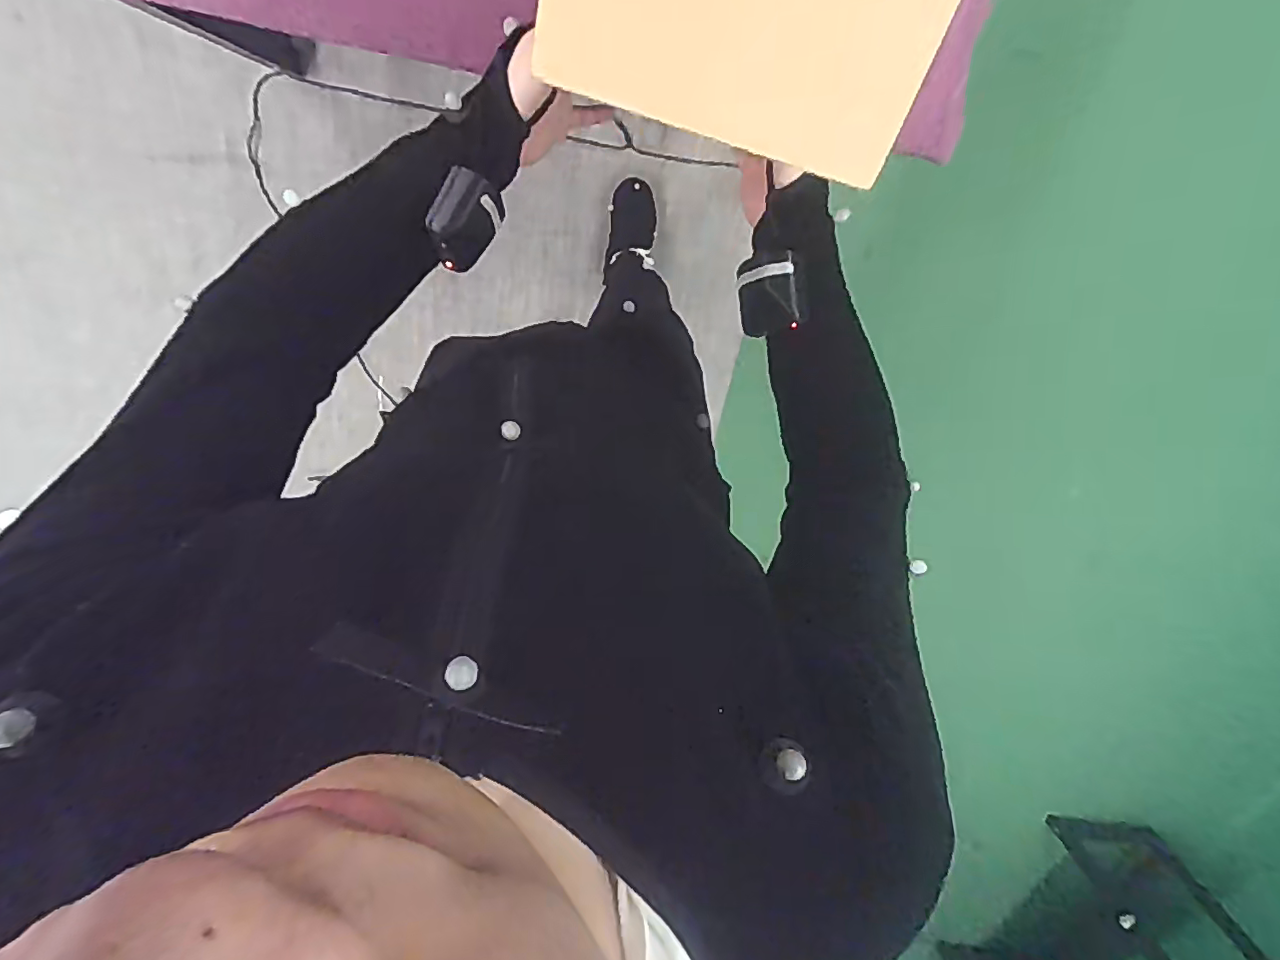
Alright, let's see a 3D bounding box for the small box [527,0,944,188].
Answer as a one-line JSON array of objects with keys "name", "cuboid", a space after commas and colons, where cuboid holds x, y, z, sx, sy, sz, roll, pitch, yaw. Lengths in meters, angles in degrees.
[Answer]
[{"name": "small box", "cuboid": [0.052, -0.273, 0.267, 0.168, 0.176, 0.179, 13, 124, -8]}]
